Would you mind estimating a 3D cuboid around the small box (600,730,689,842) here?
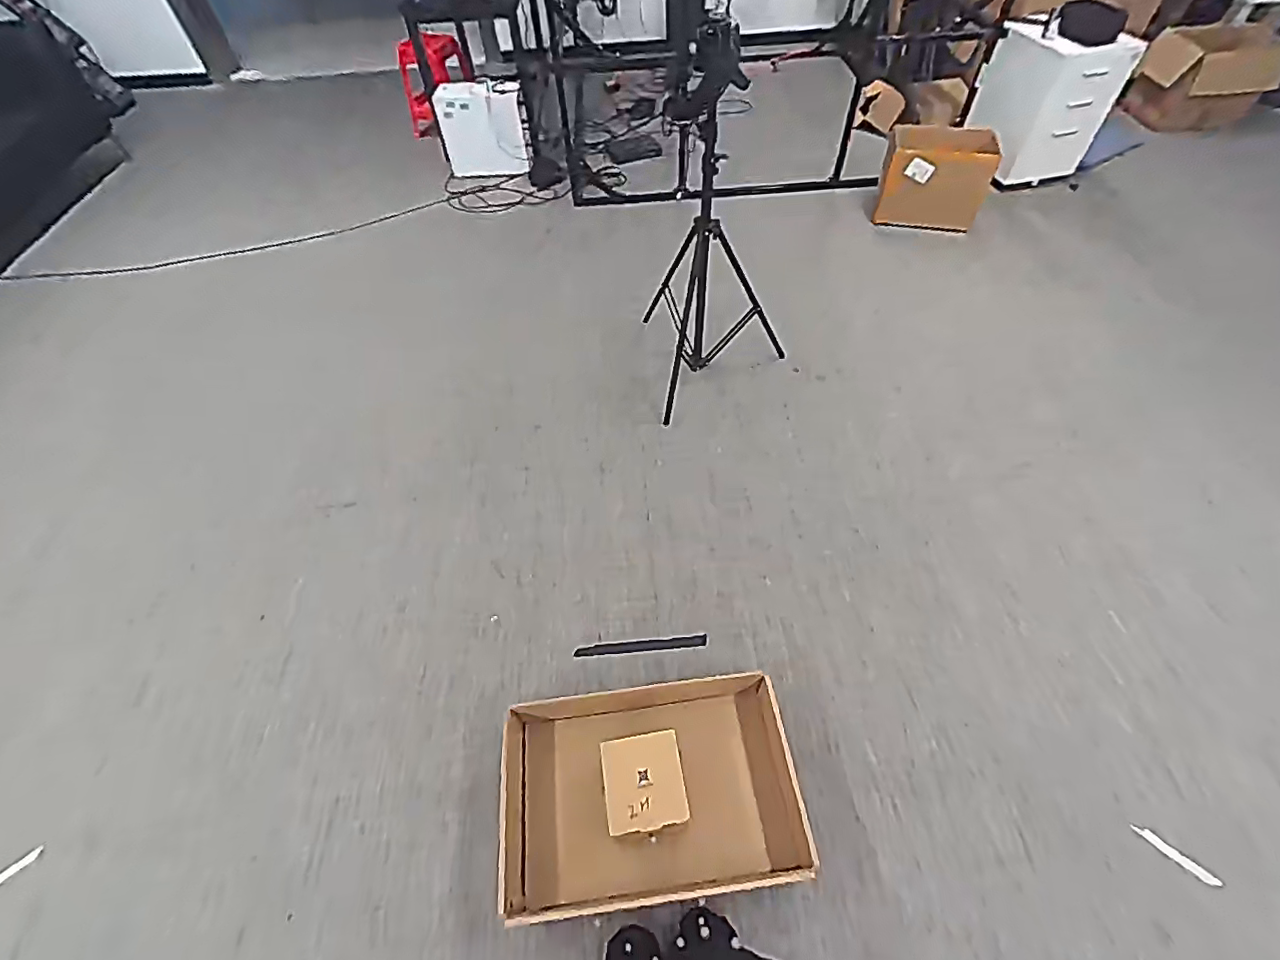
[{"bbox_3d":[0.007,0.667,1.176,0.168,0.176,0.179,-9,53,-3],"label":"small box"}]
